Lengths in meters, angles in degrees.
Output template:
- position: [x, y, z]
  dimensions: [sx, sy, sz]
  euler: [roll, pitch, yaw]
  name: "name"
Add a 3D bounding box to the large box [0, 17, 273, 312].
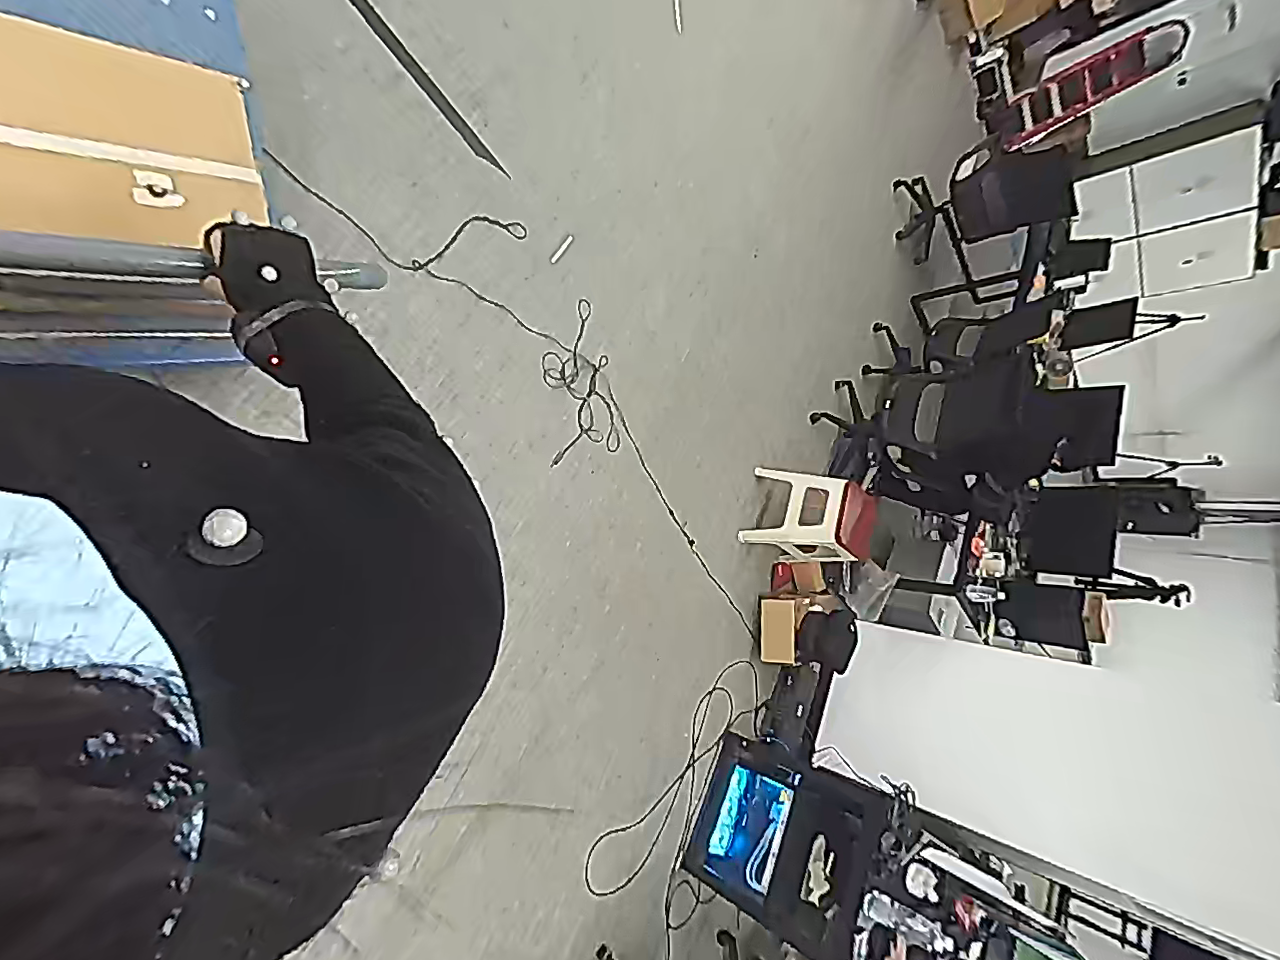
- position: [-0.878, -0.457, 0.854]
  dimensions: [0.408, 0.320, 0.320]
  euler: [-14, 101, -44]
  name: "large box"
